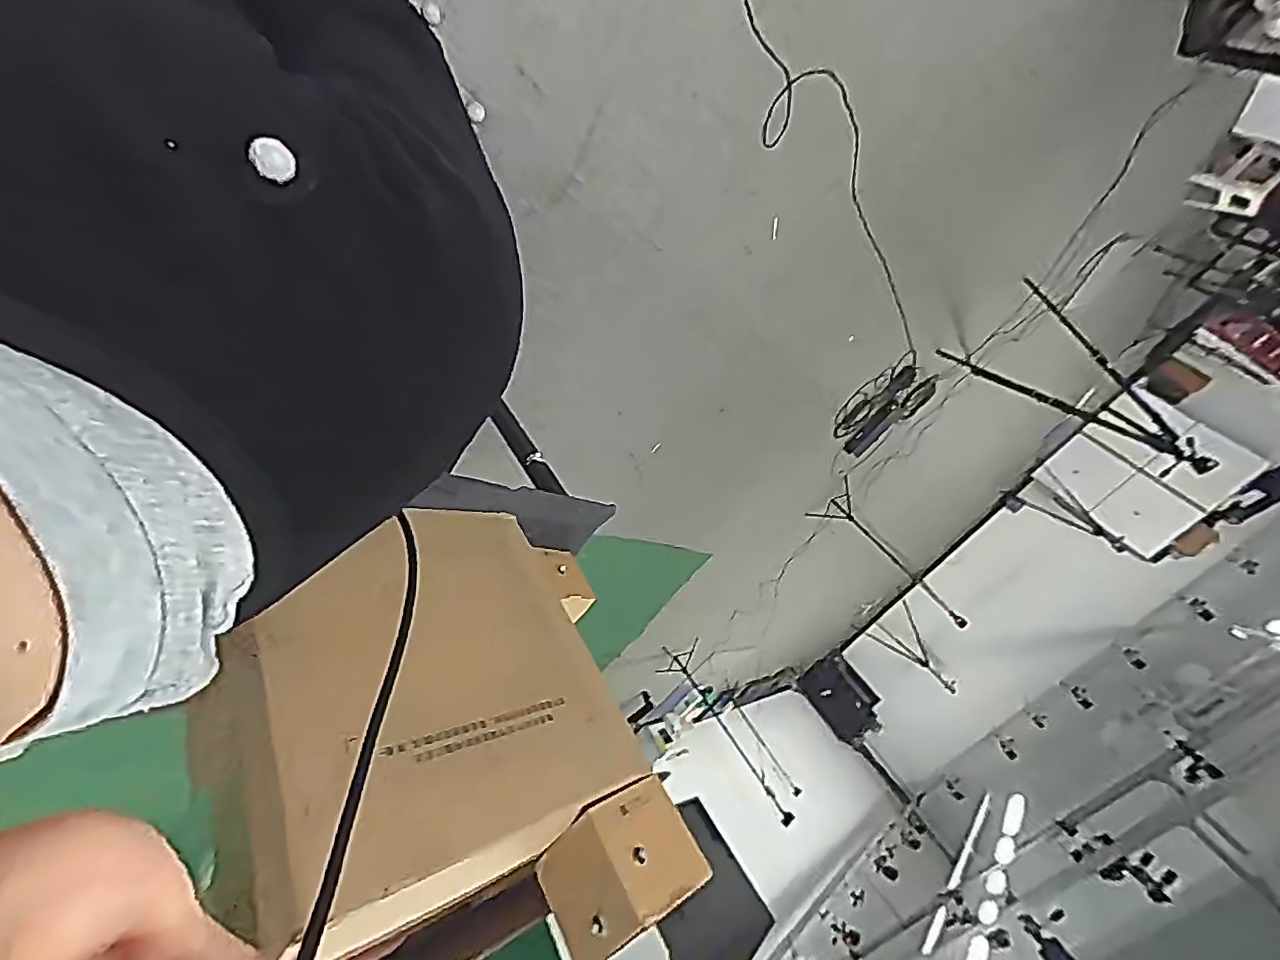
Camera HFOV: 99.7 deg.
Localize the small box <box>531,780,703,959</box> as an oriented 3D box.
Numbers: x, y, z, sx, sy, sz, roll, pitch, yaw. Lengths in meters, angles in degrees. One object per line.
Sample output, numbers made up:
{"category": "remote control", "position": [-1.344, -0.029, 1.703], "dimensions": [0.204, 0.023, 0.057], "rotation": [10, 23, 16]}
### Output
{"category": "small box", "position": [-0.043, 0.601, 0.845], "dimensions": [0.168, 0.176, 0.179], "rotation": [8, 126, -48]}
